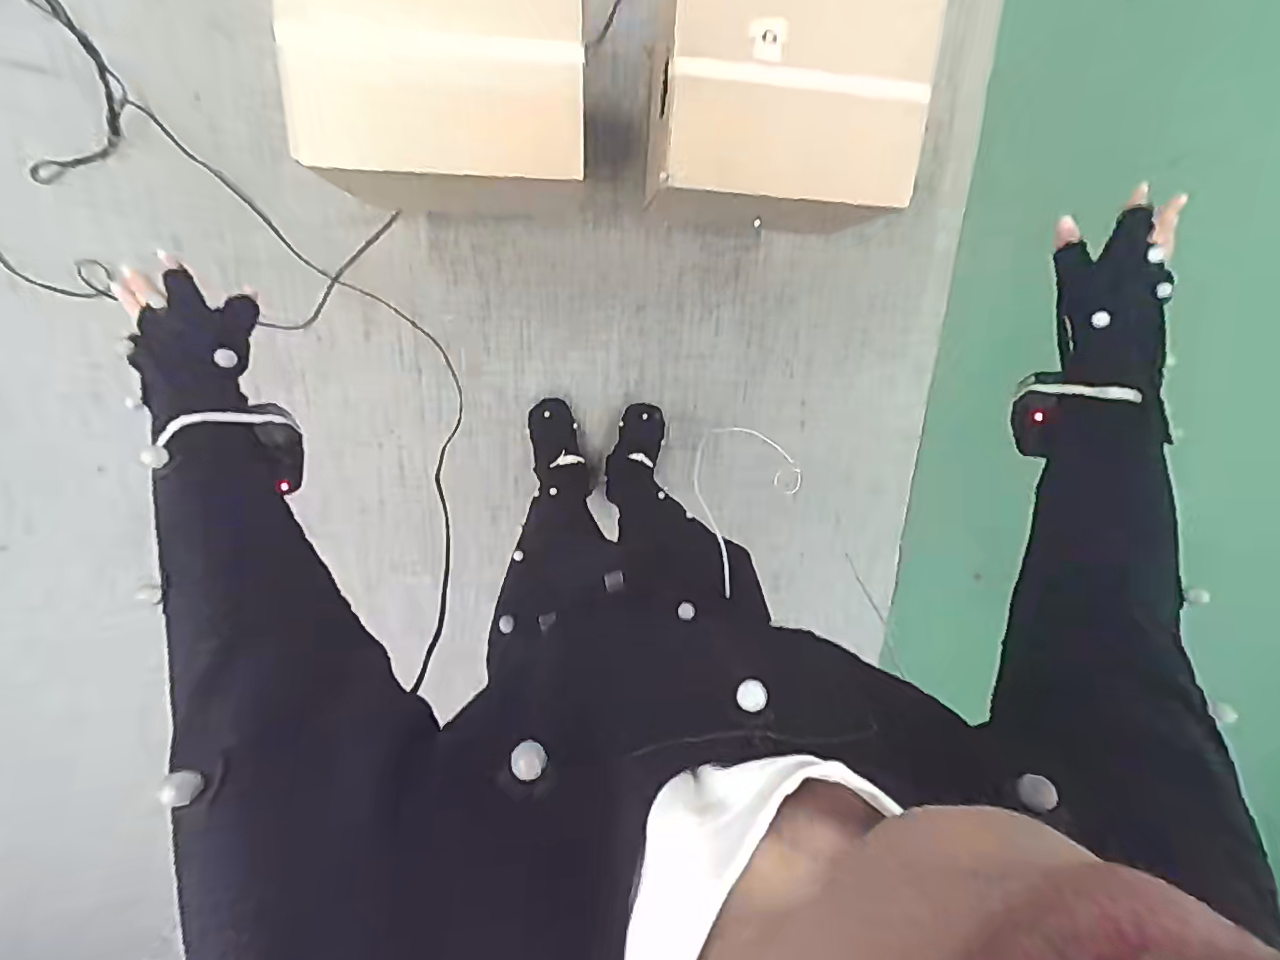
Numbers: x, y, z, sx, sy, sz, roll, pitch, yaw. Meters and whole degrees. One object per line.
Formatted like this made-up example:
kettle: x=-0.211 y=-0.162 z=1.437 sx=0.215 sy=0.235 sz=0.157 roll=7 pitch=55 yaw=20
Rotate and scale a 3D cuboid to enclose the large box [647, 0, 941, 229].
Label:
large box: x=0.235 y=-0.646 z=0.968 sx=0.408 sy=0.320 sz=0.320 roll=2 pitch=106 yaw=-7
